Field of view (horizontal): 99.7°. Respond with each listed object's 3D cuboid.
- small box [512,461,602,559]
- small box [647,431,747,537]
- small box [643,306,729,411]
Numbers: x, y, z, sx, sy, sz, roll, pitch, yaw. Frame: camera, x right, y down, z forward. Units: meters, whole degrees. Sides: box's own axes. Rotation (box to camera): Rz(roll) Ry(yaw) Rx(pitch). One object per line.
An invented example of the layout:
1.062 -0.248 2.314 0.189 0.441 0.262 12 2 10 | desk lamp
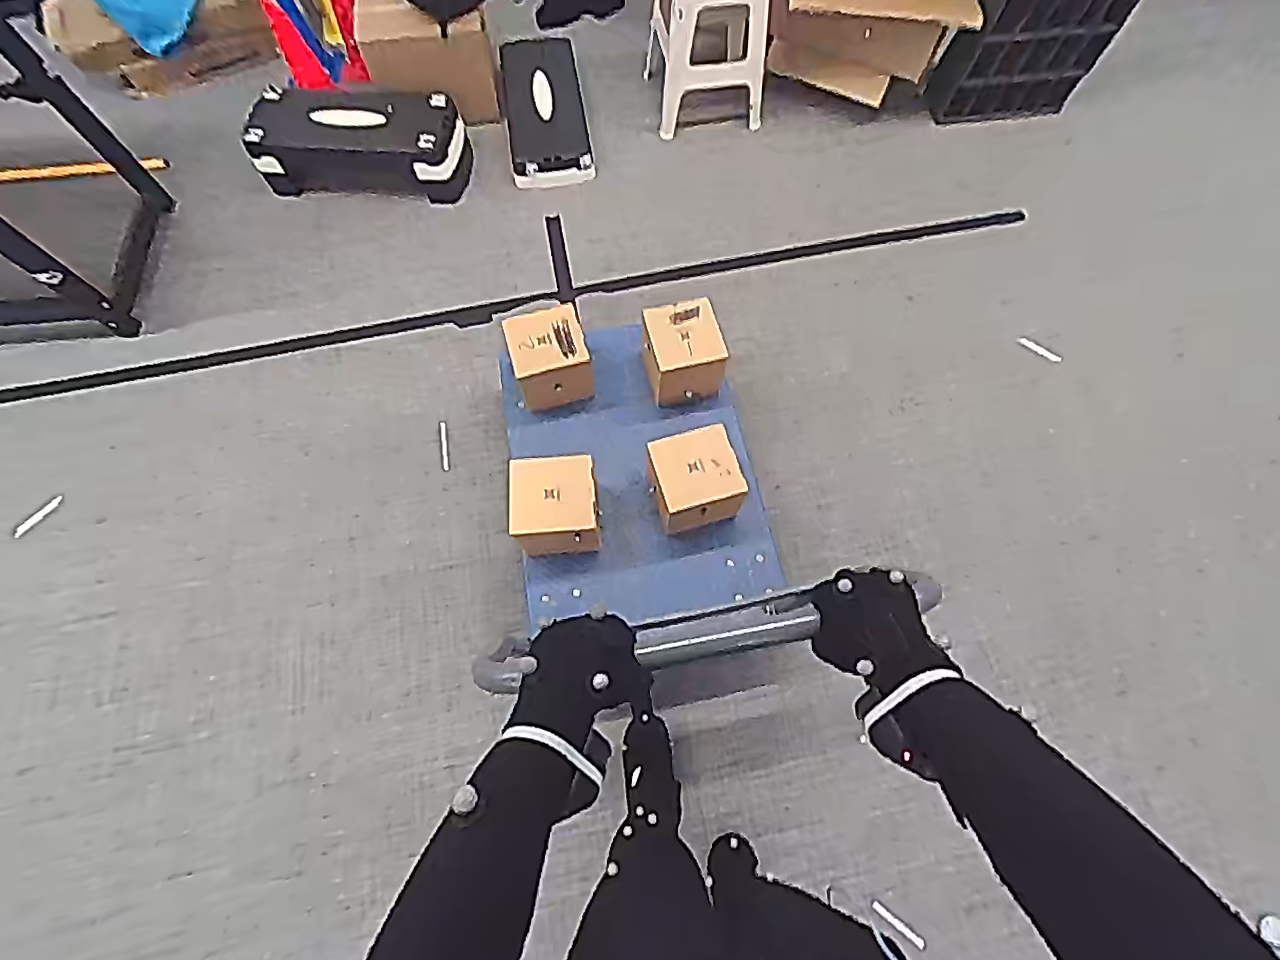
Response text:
-0.179 0.071 1.191 0.179 0.176 0.168 -4 68 -3 | small box
0.122 0.016 1.214 0.179 0.176 0.168 -15 69 -6 | small box
0.105 -0.297 1.340 0.168 0.176 0.179 -13 70 -5 | small box
